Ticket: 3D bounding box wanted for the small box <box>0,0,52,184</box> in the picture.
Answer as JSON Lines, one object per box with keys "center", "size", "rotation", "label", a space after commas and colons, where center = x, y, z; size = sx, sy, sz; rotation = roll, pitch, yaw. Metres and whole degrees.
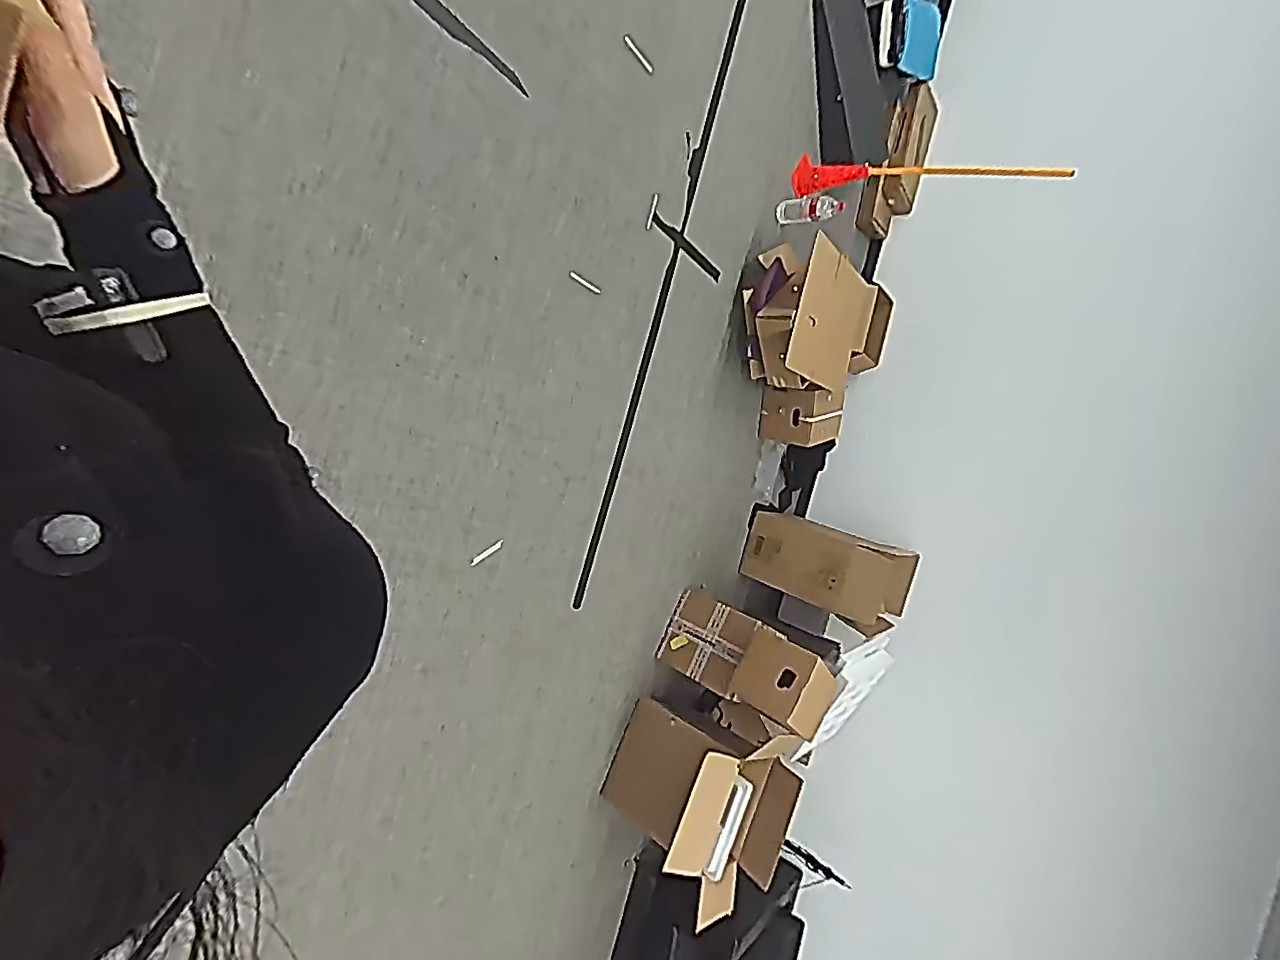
{"center": [-0.376, -0.258, 0.215], "size": [0.168, 0.176, 0.179], "rotation": [-6, 85, -55], "label": "small box"}
